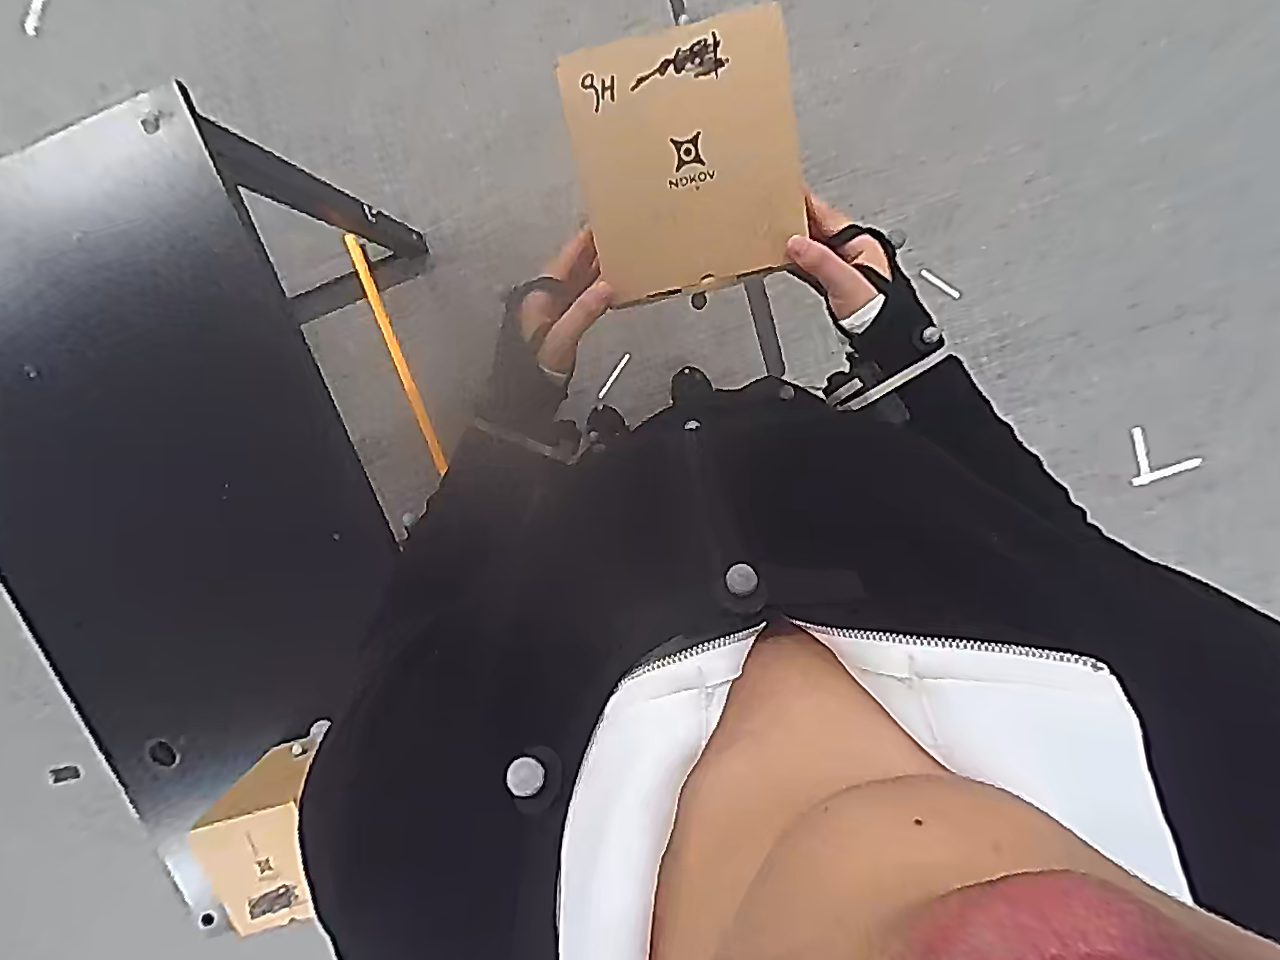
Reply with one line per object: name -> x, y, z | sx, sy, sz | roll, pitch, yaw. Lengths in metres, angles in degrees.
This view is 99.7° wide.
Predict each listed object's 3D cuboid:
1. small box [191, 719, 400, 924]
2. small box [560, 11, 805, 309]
small box -> -0.491, 0.495, 0.802 | 0.168, 0.176, 0.179 | -18, 100, 6
small box -> 0.039, -0.263, 0.489 | 0.168, 0.176, 0.179 | -12, 108, 4
